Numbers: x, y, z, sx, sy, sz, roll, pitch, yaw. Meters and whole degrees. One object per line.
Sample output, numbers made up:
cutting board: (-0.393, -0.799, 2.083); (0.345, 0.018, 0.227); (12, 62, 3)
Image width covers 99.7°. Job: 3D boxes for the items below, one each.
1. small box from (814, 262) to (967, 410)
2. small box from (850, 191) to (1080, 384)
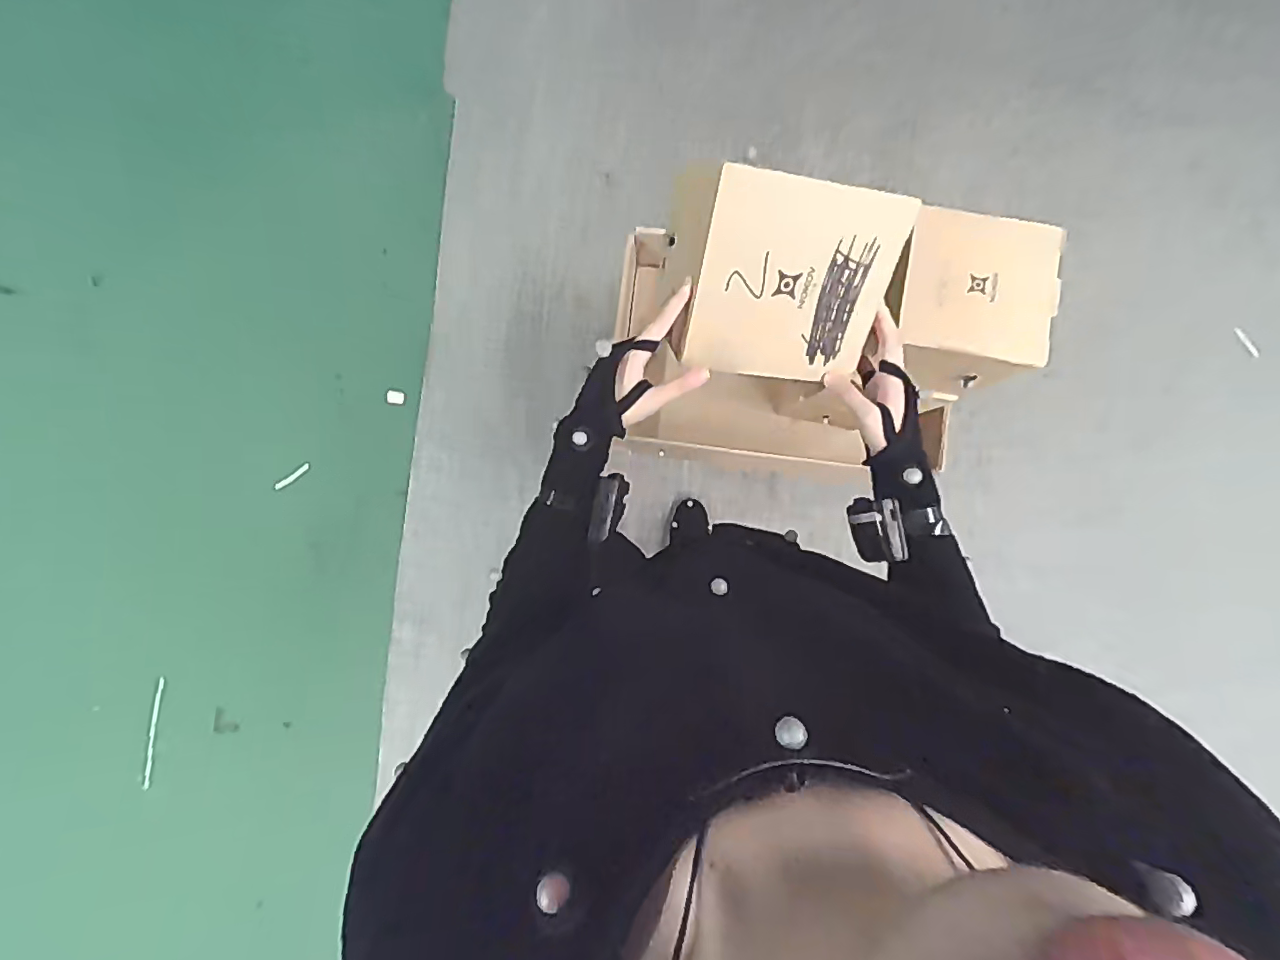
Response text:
small box: (0.388, -0.211, 0.841); (0.179, 0.176, 0.168); (11, 89, 1)
small box: (0.390, -0.225, 0.678); (0.179, 0.176, 0.168); (10, 88, 3)
